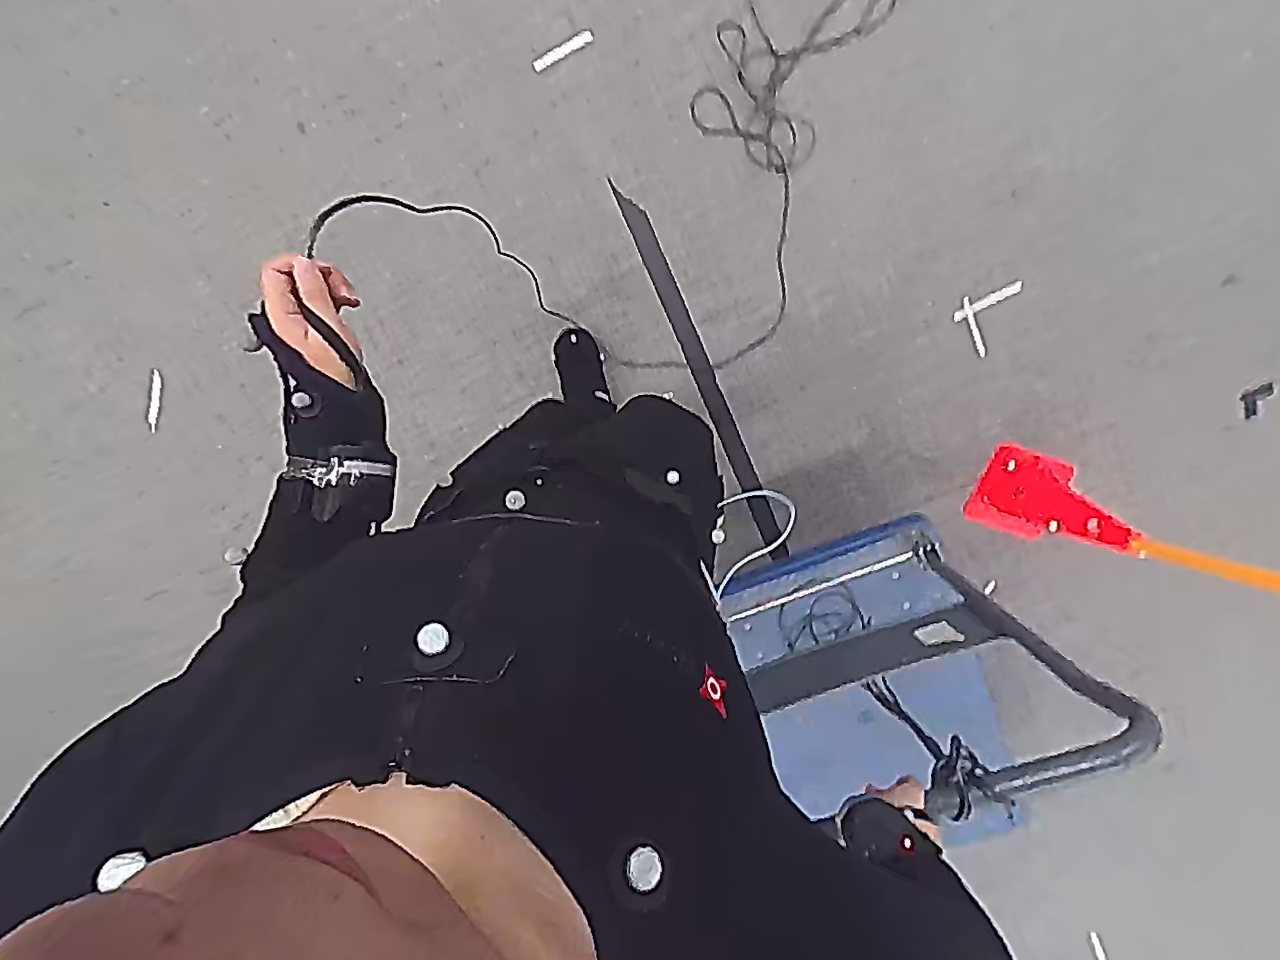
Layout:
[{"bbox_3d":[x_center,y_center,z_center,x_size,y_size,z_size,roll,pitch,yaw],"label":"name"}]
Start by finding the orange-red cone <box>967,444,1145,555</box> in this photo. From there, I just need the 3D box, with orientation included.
[{"bbox_3d":[0.909,0.075,1.145,0.198,0.360,0.199,21,106,-1],"label":"orange-red cone"}]
